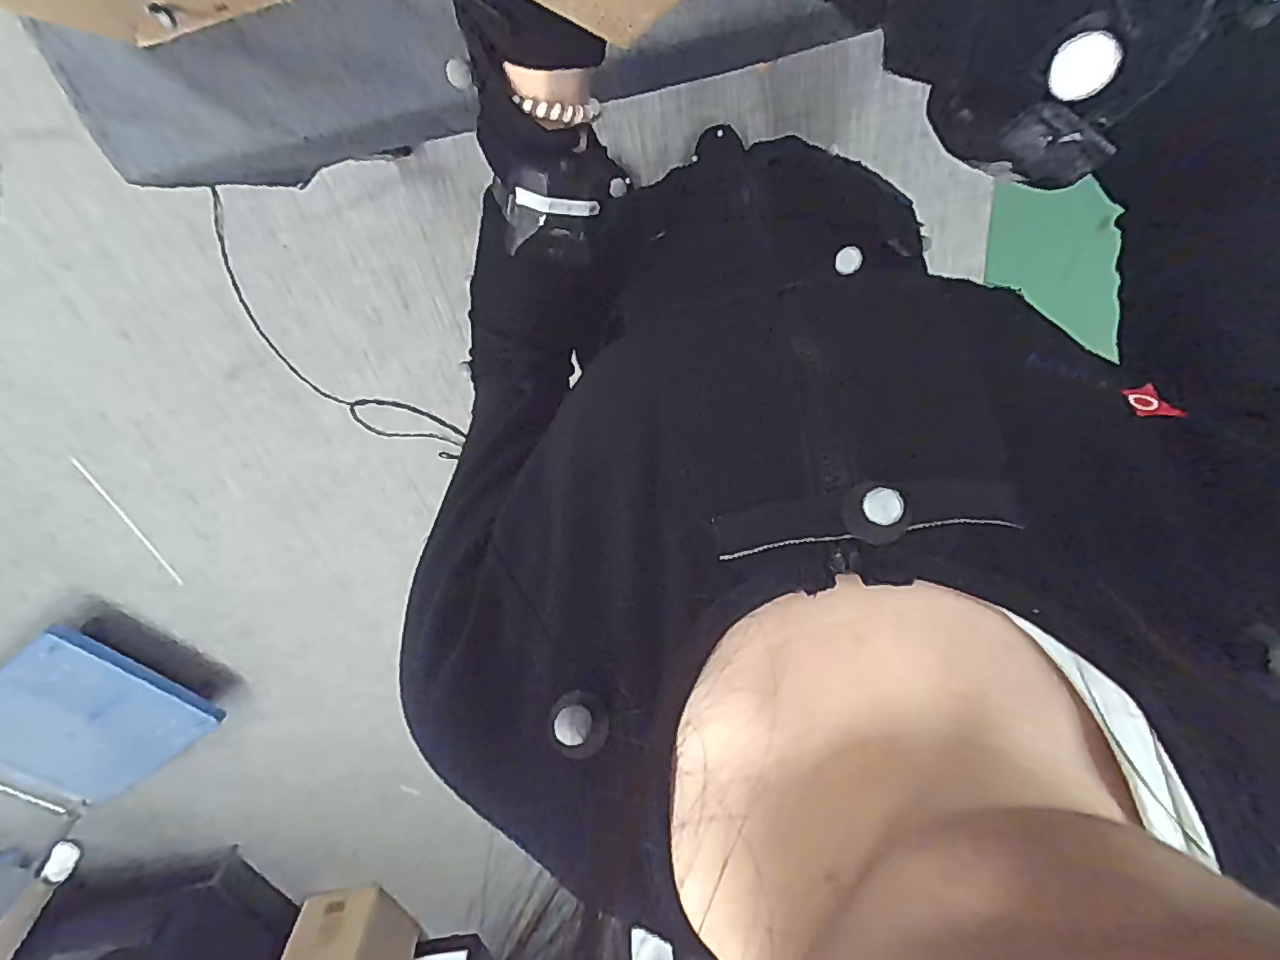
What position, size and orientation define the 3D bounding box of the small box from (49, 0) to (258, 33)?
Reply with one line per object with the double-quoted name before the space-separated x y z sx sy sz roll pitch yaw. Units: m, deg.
"small box" -0.416 -0.469 0.393 0.168 0.176 0.179 -13 120 5
